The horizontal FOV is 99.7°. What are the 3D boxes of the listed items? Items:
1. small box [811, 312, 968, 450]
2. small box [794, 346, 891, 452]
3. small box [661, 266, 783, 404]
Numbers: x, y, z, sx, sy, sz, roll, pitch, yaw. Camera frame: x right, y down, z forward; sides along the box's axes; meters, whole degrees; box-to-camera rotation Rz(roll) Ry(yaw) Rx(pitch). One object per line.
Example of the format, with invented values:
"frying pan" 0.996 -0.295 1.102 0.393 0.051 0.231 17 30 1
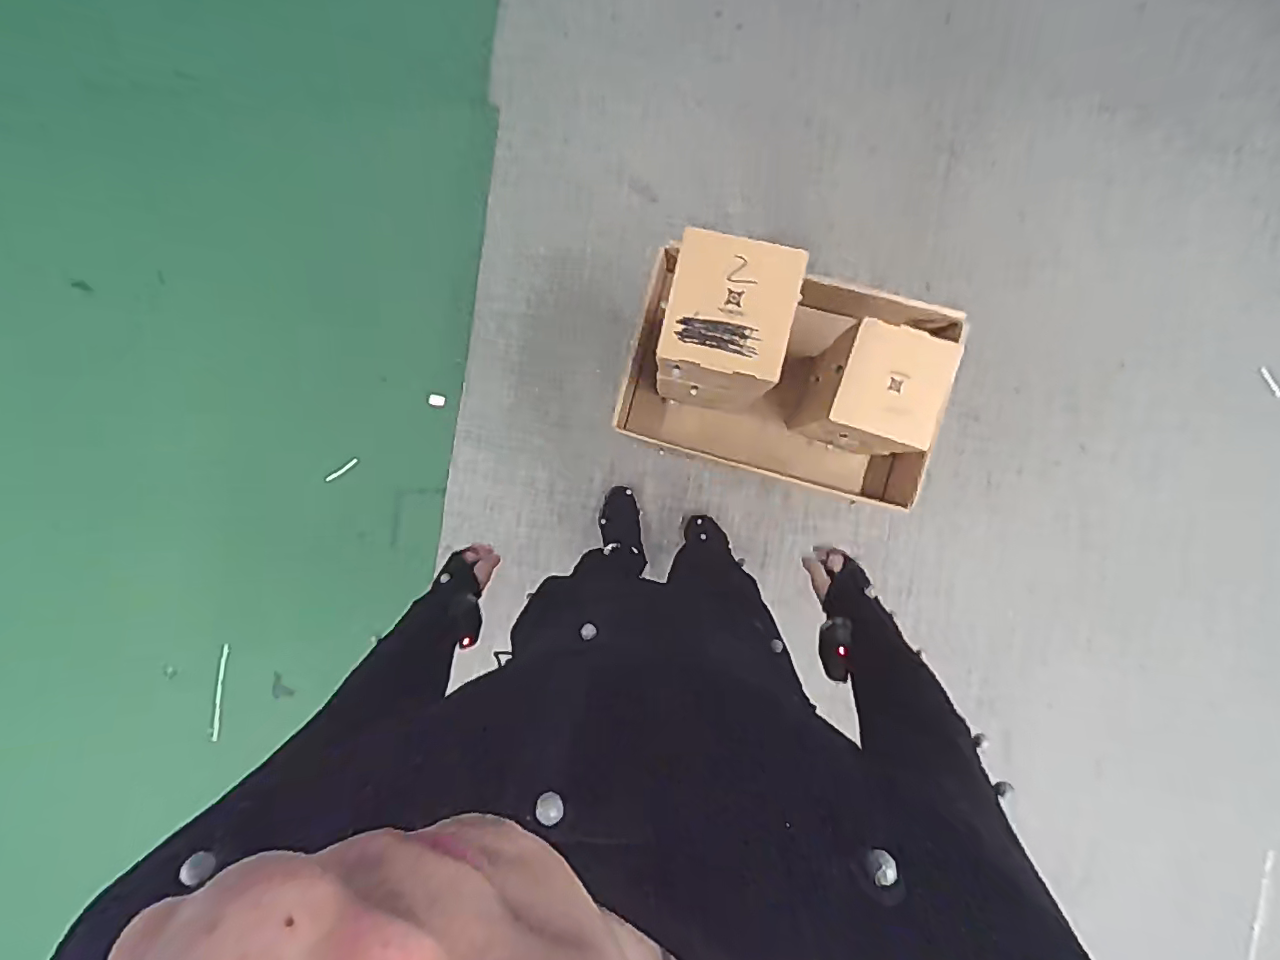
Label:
"small box" 0.412 -0.159 0.926 0.168 0.176 0.179 19 93 3
"small box" 0.427 -0.164 1.089 0.168 0.176 0.179 19 94 3
"small box" 0.134 -0.241 0.940 0.168 0.176 0.179 13 93 3
